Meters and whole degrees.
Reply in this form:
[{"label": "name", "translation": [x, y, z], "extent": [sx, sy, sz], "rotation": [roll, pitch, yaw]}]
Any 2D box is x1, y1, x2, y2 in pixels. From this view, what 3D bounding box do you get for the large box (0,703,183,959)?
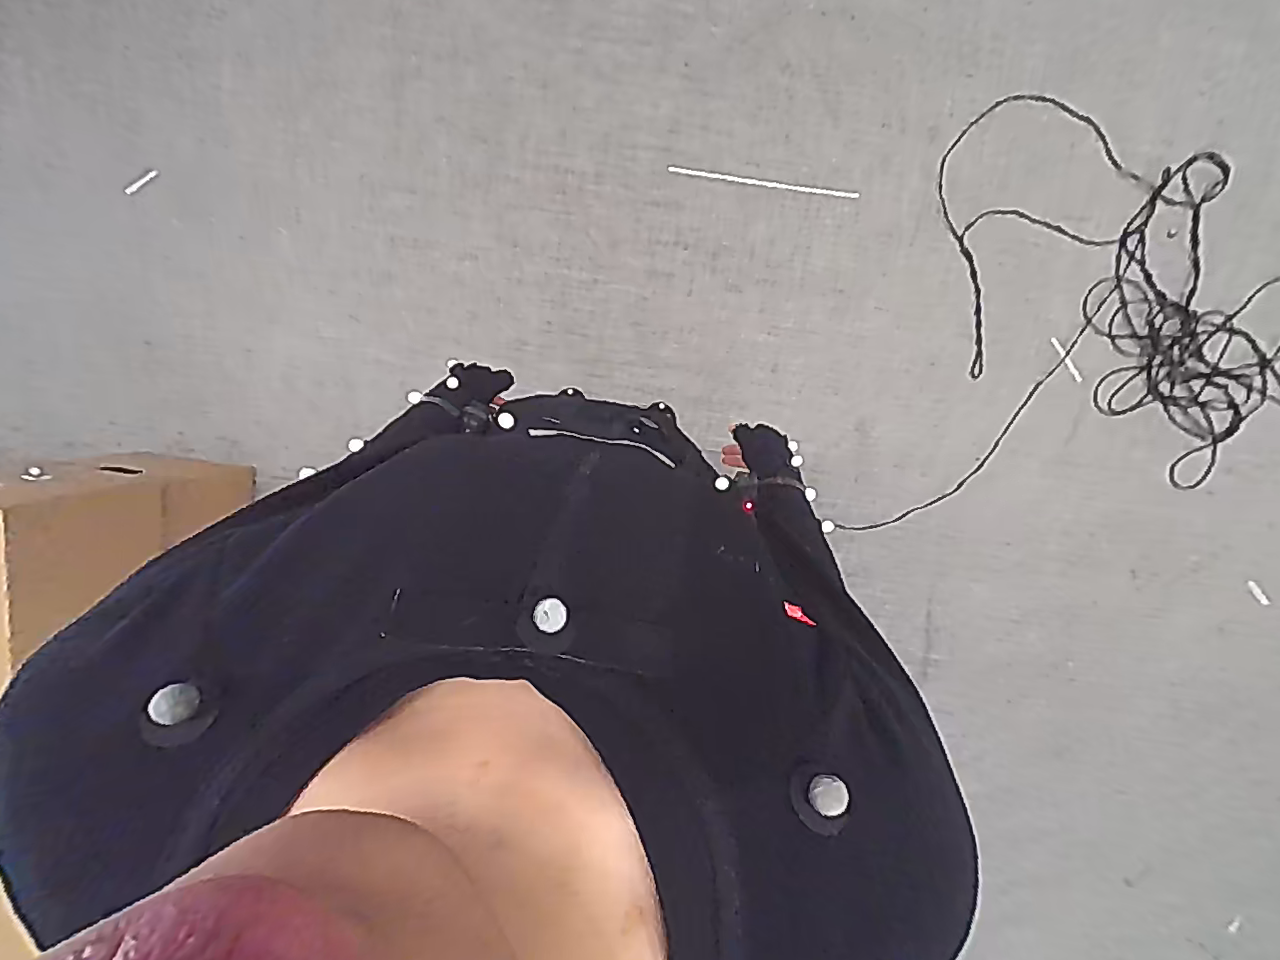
[{"label": "large box", "translation": [-1.241, 0.747, 1.139], "extent": [0.320, 0.320, 0.408], "rotation": [11, 101, -4]}]
